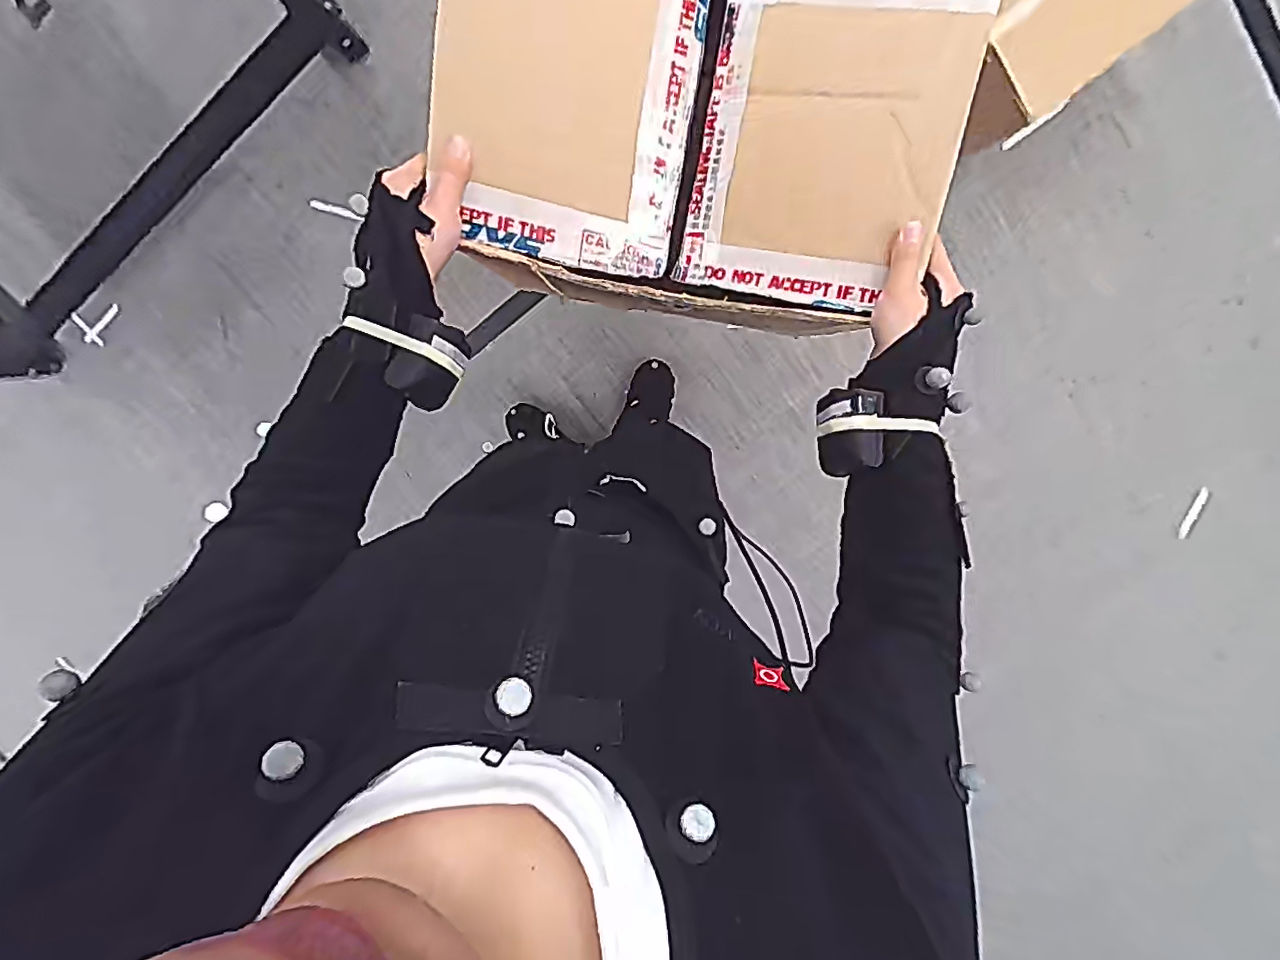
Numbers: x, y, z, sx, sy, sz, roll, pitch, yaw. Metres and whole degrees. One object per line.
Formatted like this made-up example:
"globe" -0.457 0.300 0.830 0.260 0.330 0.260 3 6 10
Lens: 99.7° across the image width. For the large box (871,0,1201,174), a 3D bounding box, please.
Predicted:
"large box" 0.715 -0.853 0.970 0.408 0.320 0.320 -37 100 12
